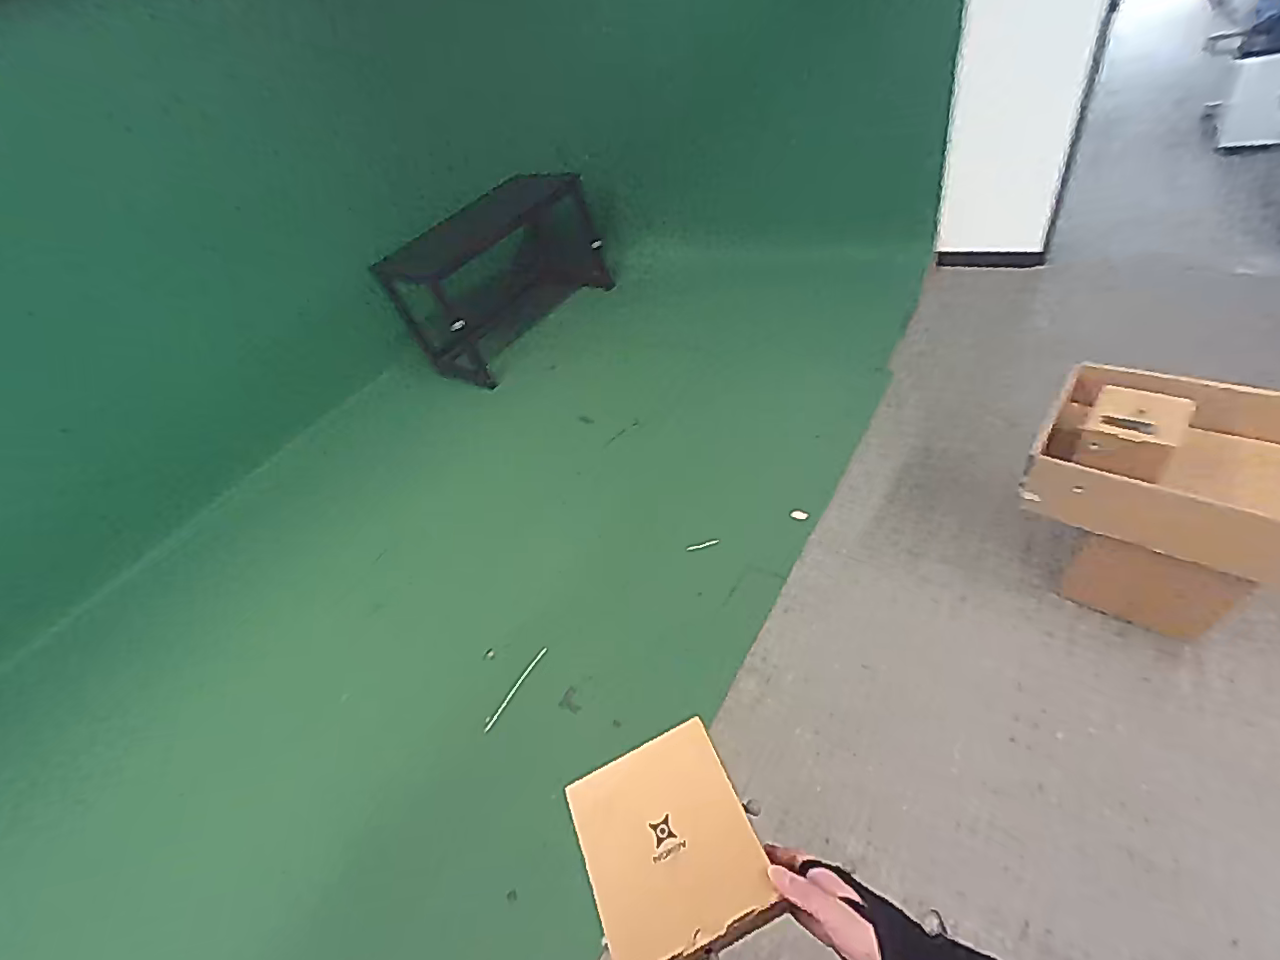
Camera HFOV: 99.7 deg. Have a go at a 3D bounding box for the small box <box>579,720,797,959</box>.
[{"bbox_3d":[0.052,0.403,0.593,0.168,0.176,0.179,-24,50,-5],"label":"small box"}]
